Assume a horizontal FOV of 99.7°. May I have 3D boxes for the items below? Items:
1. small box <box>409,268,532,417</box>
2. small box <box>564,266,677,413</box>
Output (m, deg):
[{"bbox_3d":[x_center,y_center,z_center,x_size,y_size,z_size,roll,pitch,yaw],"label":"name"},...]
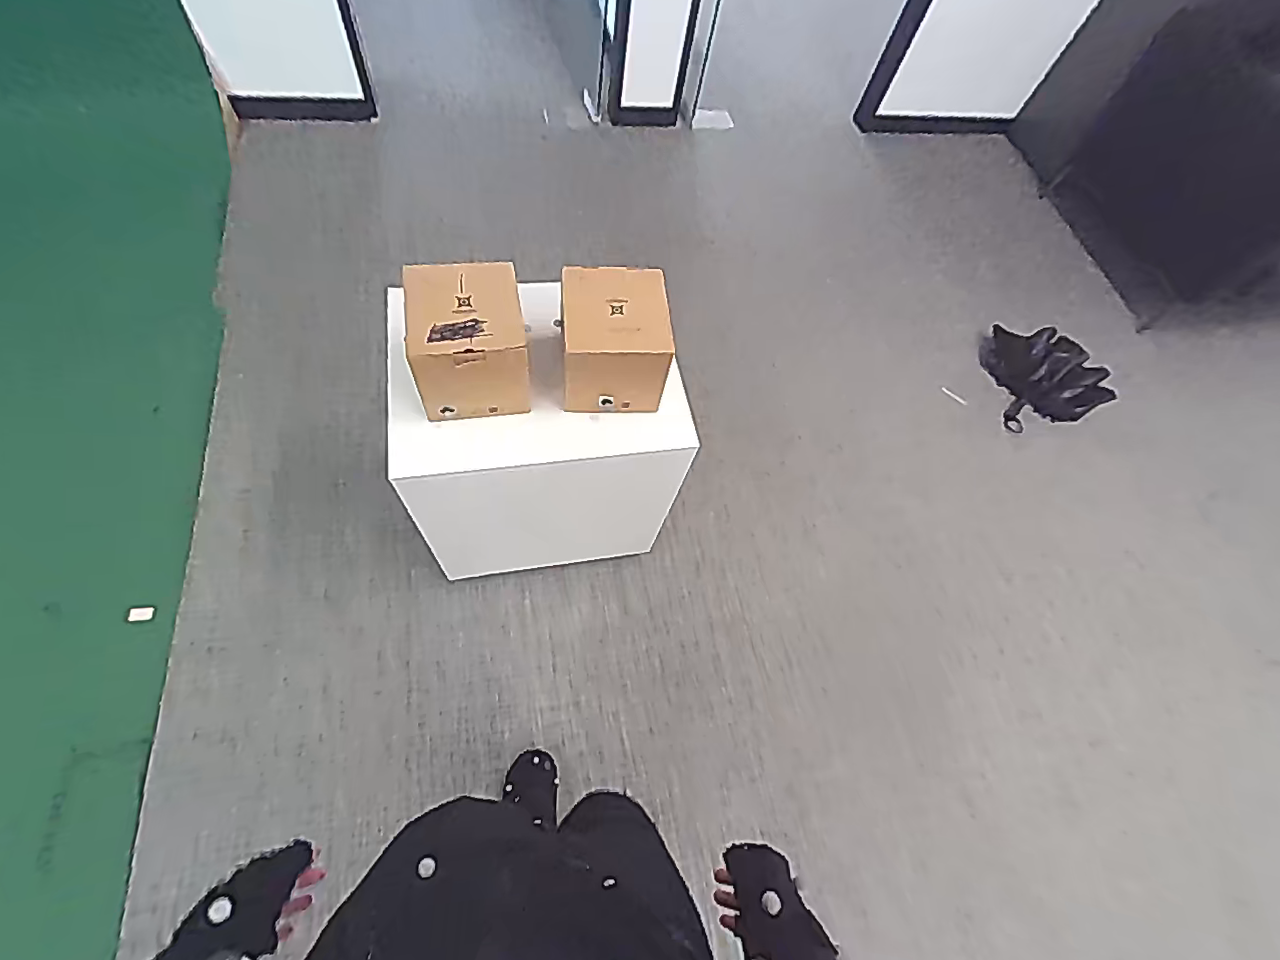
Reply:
[{"bbox_3d":[-0.269,-0.214,0.876,0.168,0.176,0.179,-7,63,-13],"label":"small box"},{"bbox_3d":[-0.042,-0.229,0.905,0.168,0.176,0.179,-3,65,-9],"label":"small box"}]
